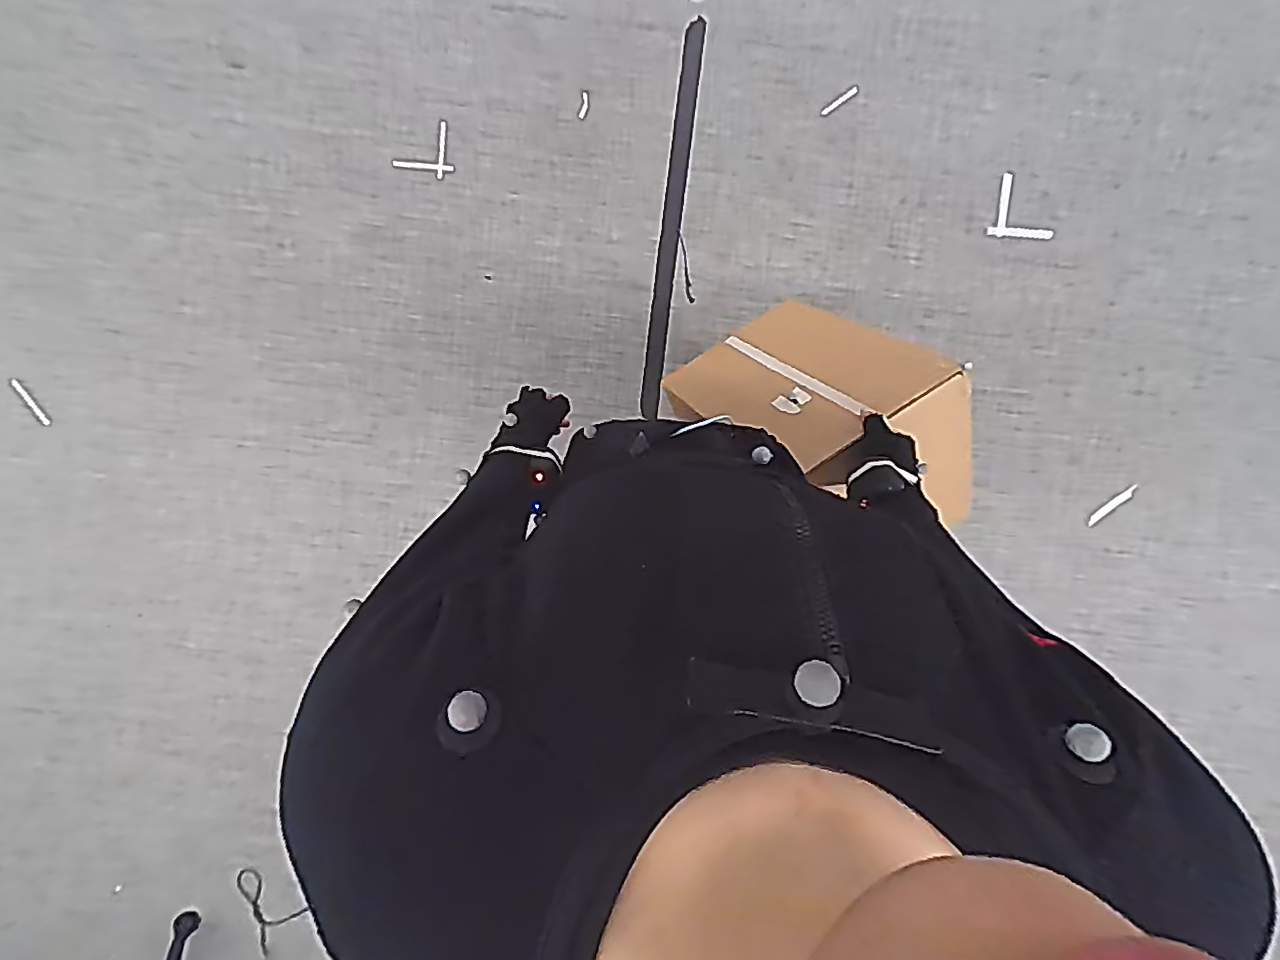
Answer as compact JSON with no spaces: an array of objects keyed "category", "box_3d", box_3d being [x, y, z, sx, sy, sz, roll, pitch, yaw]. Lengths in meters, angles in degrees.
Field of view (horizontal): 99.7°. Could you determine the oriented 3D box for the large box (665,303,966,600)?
[{"category":"large box","box_3d":[0.303,-0.069,0.987,0.320,0.408,0.320,-32,129,-4]}]
